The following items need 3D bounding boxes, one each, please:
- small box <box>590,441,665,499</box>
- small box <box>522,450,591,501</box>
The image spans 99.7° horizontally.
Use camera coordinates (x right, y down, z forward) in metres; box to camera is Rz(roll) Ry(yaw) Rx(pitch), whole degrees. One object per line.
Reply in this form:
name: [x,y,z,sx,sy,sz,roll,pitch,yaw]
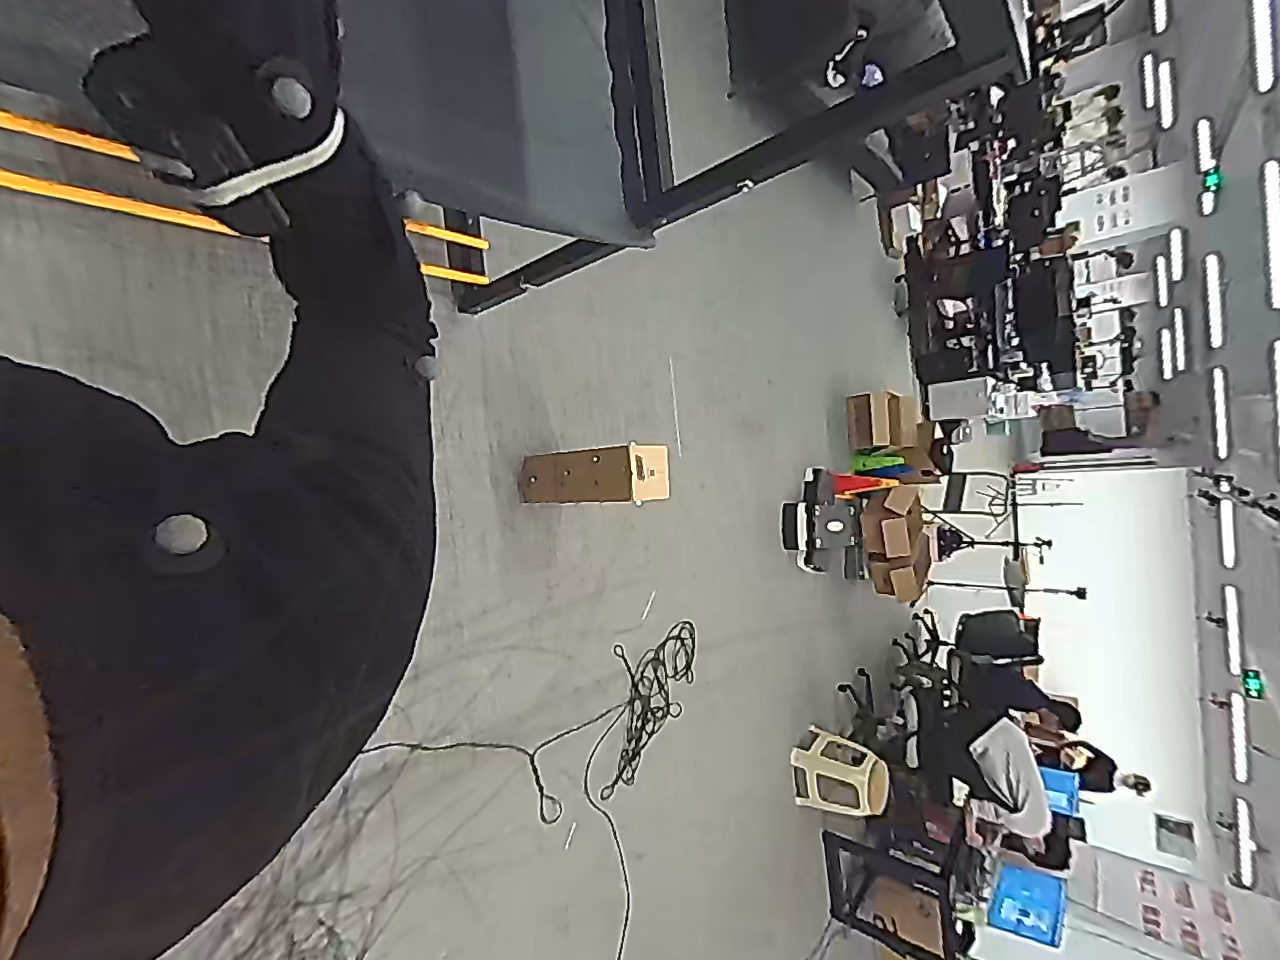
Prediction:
small box: [-0.043,-0.028,1.669,0.179,0.176,0.168,-3,90,-49]
small box: [-0.289,-0.013,1.882,0.179,0.176,0.168,1,87,-49]
